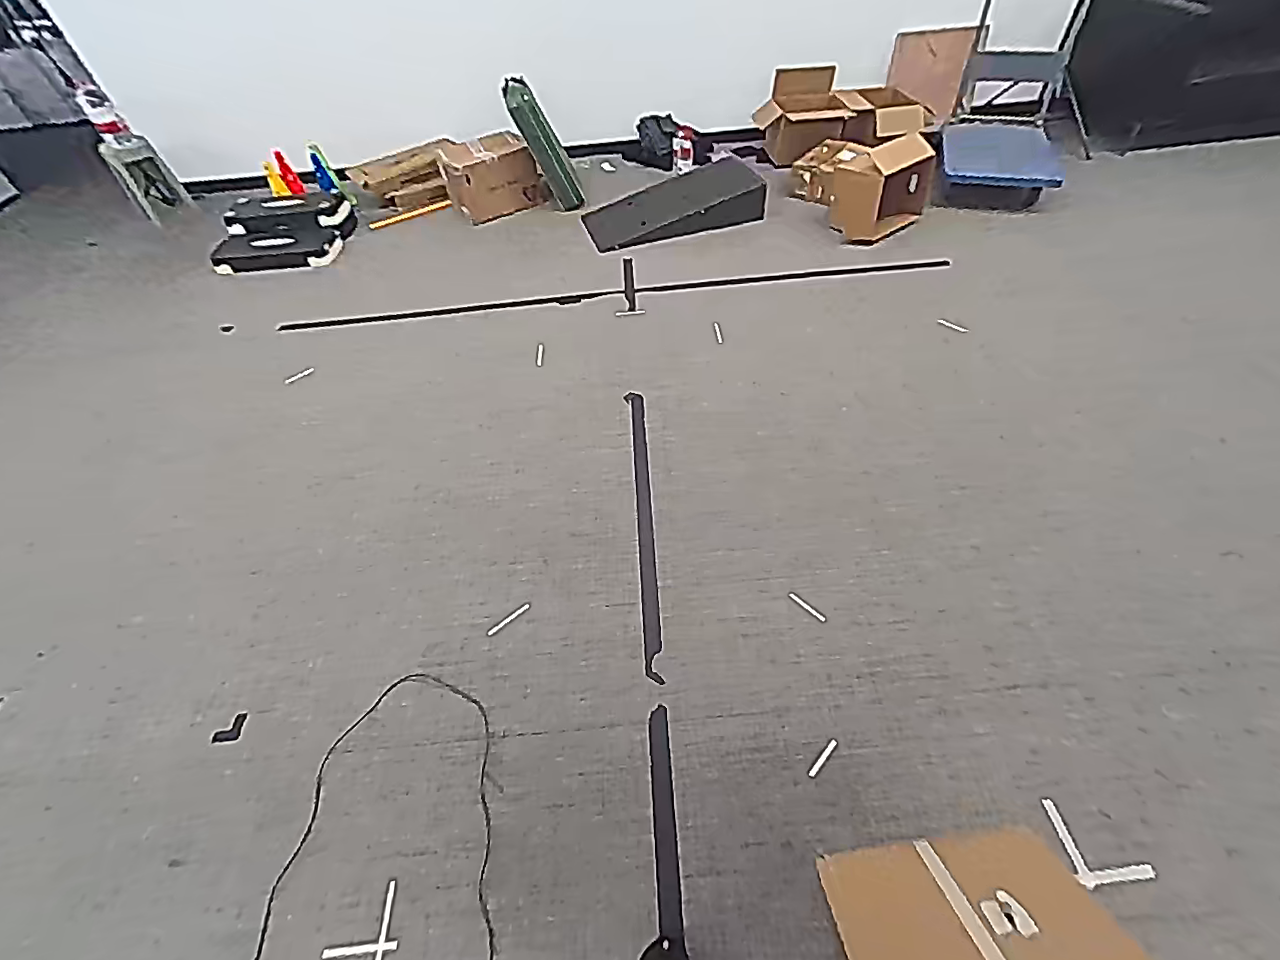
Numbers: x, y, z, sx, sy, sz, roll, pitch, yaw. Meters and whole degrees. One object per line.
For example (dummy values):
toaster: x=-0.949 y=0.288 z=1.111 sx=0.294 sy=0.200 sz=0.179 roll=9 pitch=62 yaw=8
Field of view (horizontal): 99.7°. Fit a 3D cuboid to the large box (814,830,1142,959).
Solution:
large box: x=0.433 y=0.702 z=0.614 sx=0.320 sy=0.408 sz=0.320 roll=-10 pitch=92 yaw=3
